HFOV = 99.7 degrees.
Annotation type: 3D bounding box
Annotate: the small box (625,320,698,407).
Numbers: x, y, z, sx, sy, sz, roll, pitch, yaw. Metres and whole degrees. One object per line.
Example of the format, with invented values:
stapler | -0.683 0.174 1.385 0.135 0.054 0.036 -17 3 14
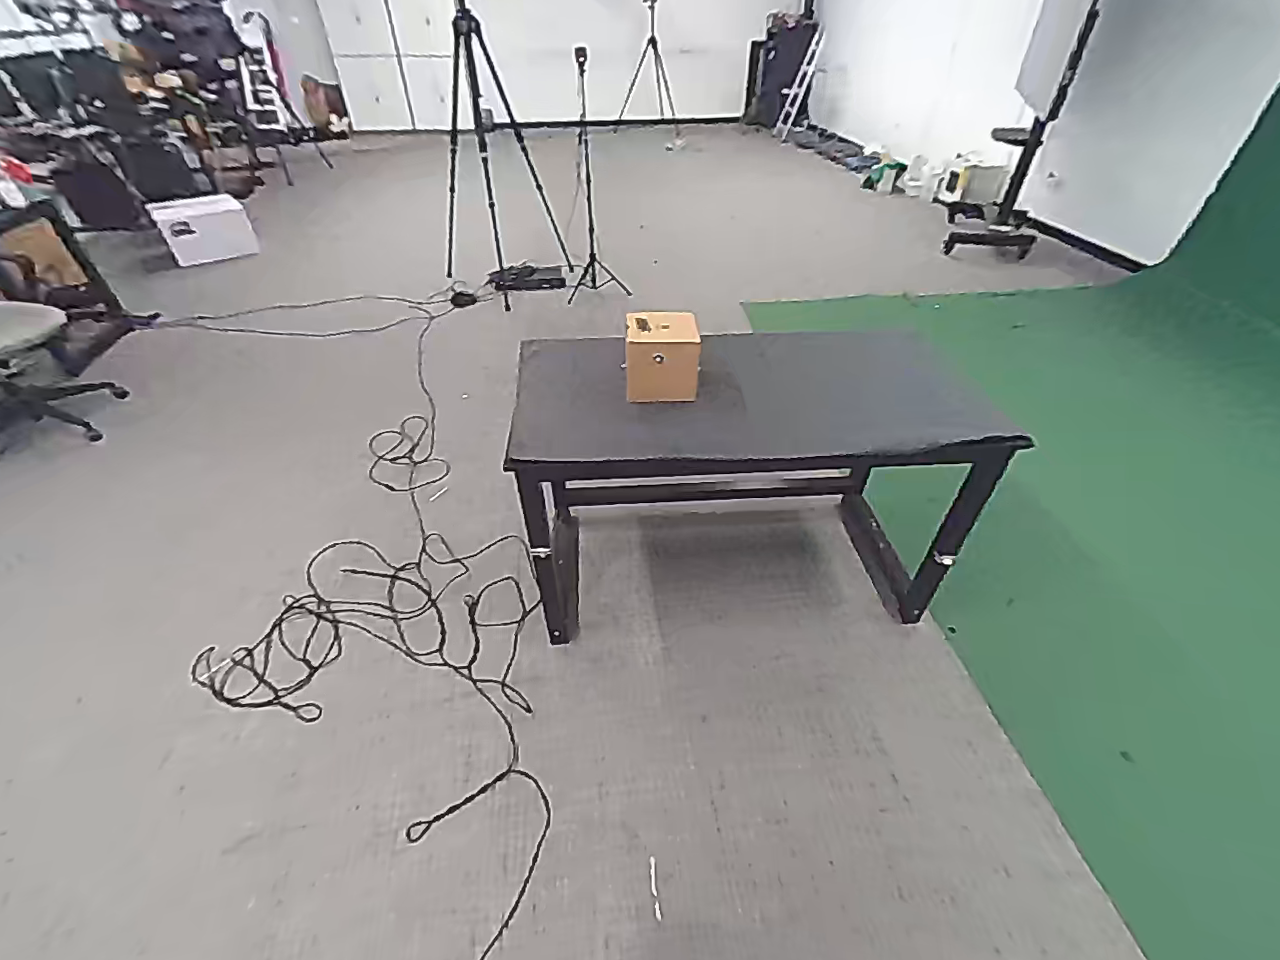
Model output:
small box | 0.051 -0.300 1.398 0.179 0.176 0.168 0 40 -2
